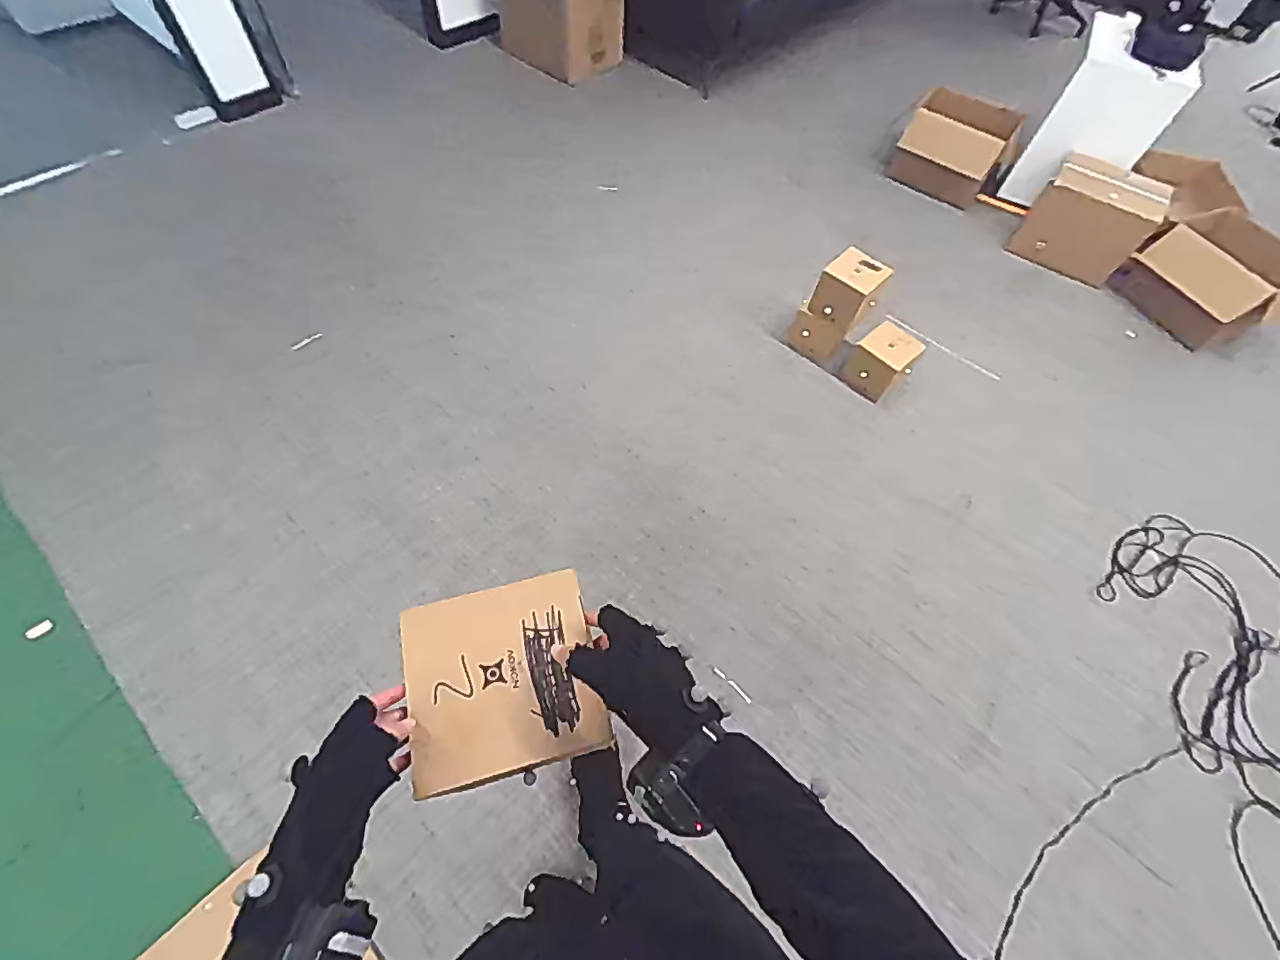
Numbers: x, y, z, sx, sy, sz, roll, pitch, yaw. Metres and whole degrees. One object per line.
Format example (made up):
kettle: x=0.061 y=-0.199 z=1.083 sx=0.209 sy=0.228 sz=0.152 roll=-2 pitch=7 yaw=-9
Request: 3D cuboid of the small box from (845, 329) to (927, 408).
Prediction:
small box: x=0.840 y=-0.380 z=1.872 sx=0.179 sy=0.176 sz=0.168 roll=-36 pitch=68 yaw=-23

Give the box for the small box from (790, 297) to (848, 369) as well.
small box: x=0.664 y=-0.533 z=1.955 sx=0.168 sy=0.176 sz=0.179 roll=34 pitch=62 yaw=16

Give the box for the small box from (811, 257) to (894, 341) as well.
small box: x=0.702 y=-0.603 z=1.808 sx=0.168 sy=0.176 sz=0.179 roll=41 pitch=64 yaw=19
